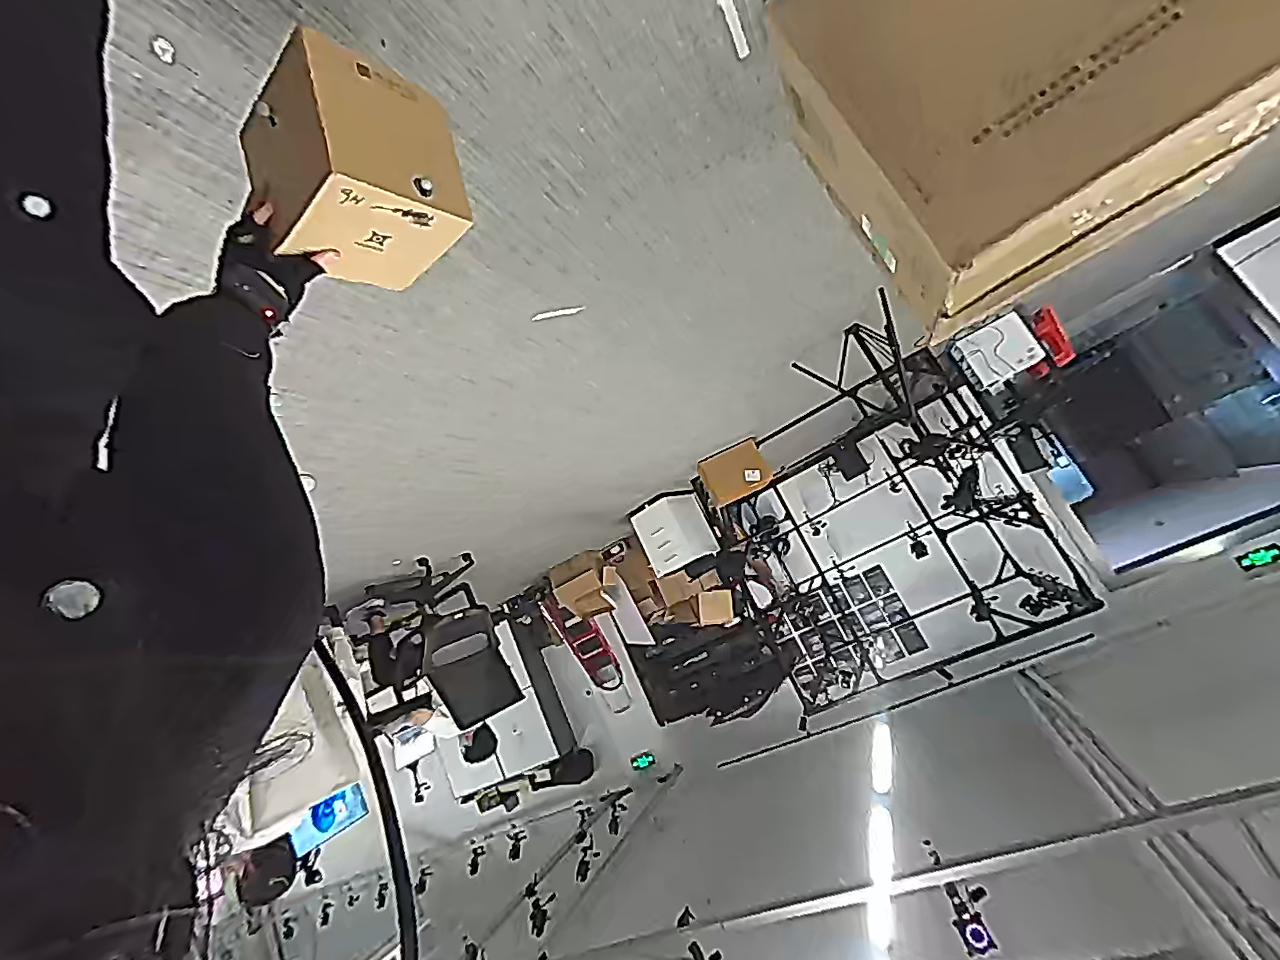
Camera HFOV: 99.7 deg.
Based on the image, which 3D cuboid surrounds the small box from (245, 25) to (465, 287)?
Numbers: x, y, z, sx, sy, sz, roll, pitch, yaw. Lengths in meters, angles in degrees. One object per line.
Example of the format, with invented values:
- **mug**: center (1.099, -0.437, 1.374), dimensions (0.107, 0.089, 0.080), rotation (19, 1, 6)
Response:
- **small box**: center (-0.339, -0.362, 0.639), dimensions (0.179, 0.176, 0.168), rotation (-19, 173, 35)
